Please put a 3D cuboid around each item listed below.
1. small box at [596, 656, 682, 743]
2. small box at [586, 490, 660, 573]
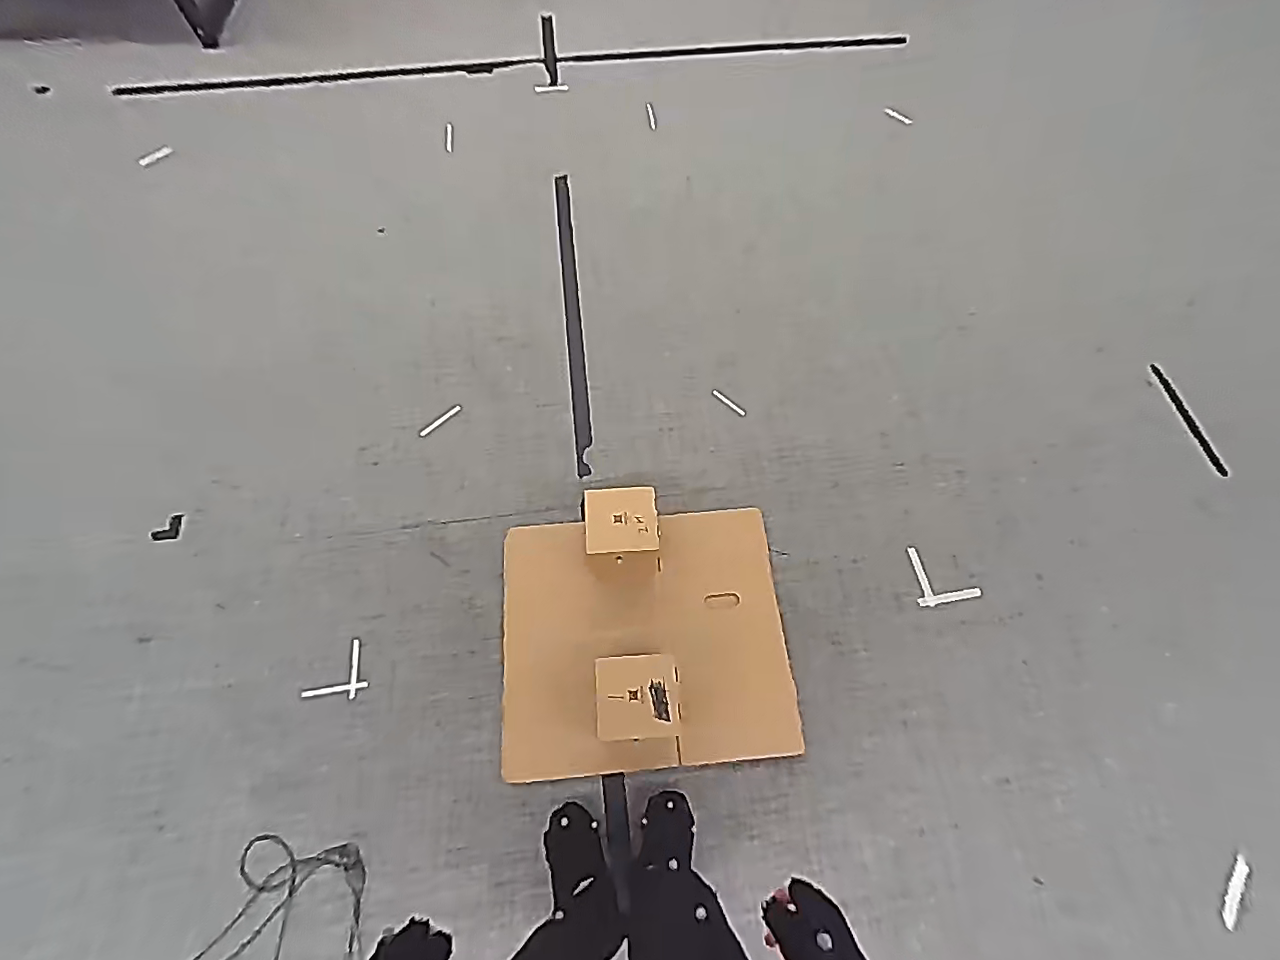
[{"bbox_3d":[-0.007,0.491,1.212,0.179,0.176,0.168,-3,66,-2],"label":"small box"},{"bbox_3d":[-0.044,0.135,1.372,0.179,0.176,0.168,-2,65,-3],"label":"small box"}]
